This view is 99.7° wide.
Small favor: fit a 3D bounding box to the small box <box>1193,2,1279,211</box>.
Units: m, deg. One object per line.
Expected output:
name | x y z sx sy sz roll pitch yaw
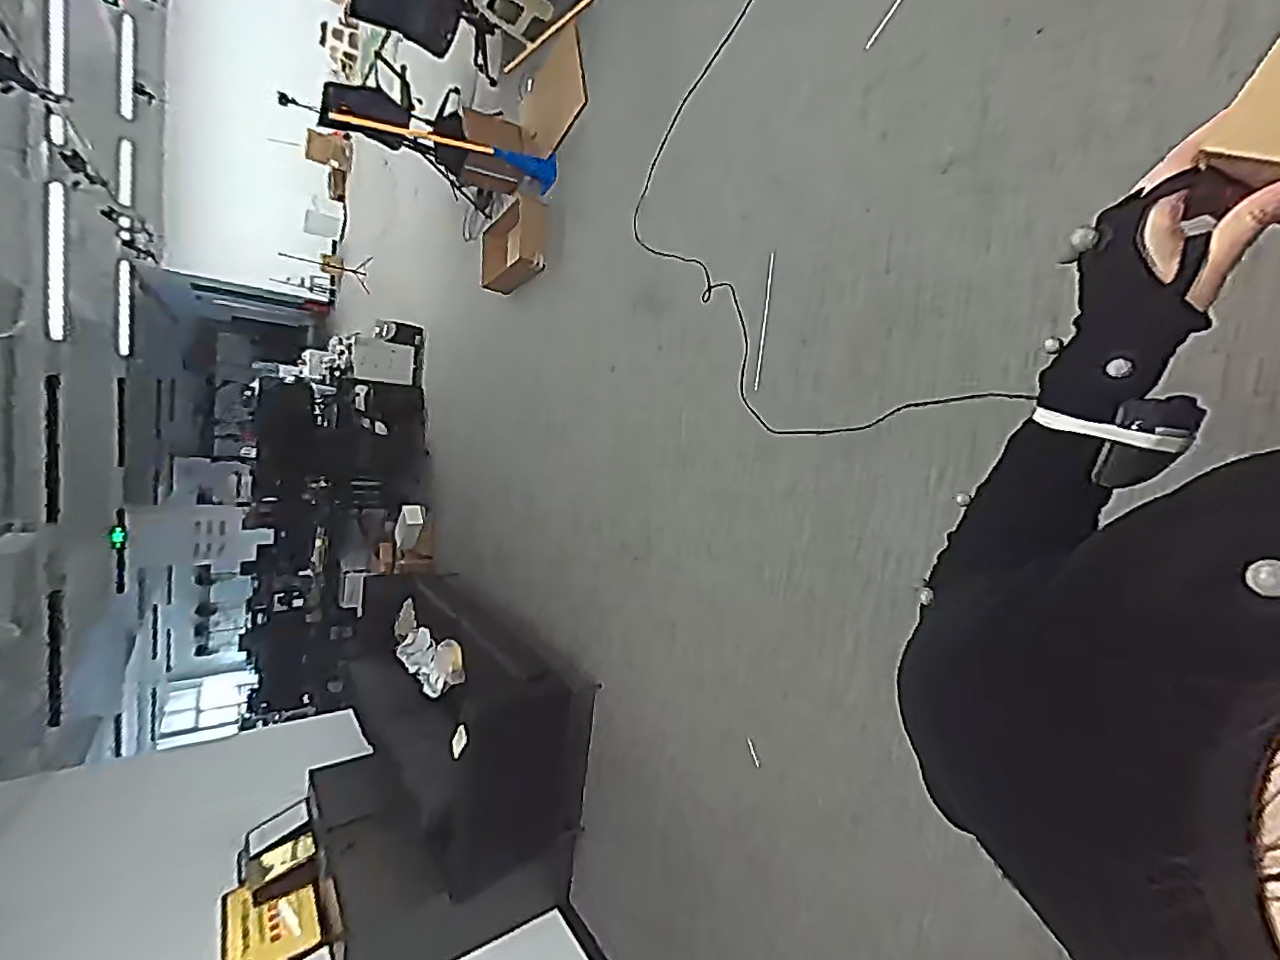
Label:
small box | 0.438 -0.217 0.259 0.179 0.176 0.168 45 129 36
